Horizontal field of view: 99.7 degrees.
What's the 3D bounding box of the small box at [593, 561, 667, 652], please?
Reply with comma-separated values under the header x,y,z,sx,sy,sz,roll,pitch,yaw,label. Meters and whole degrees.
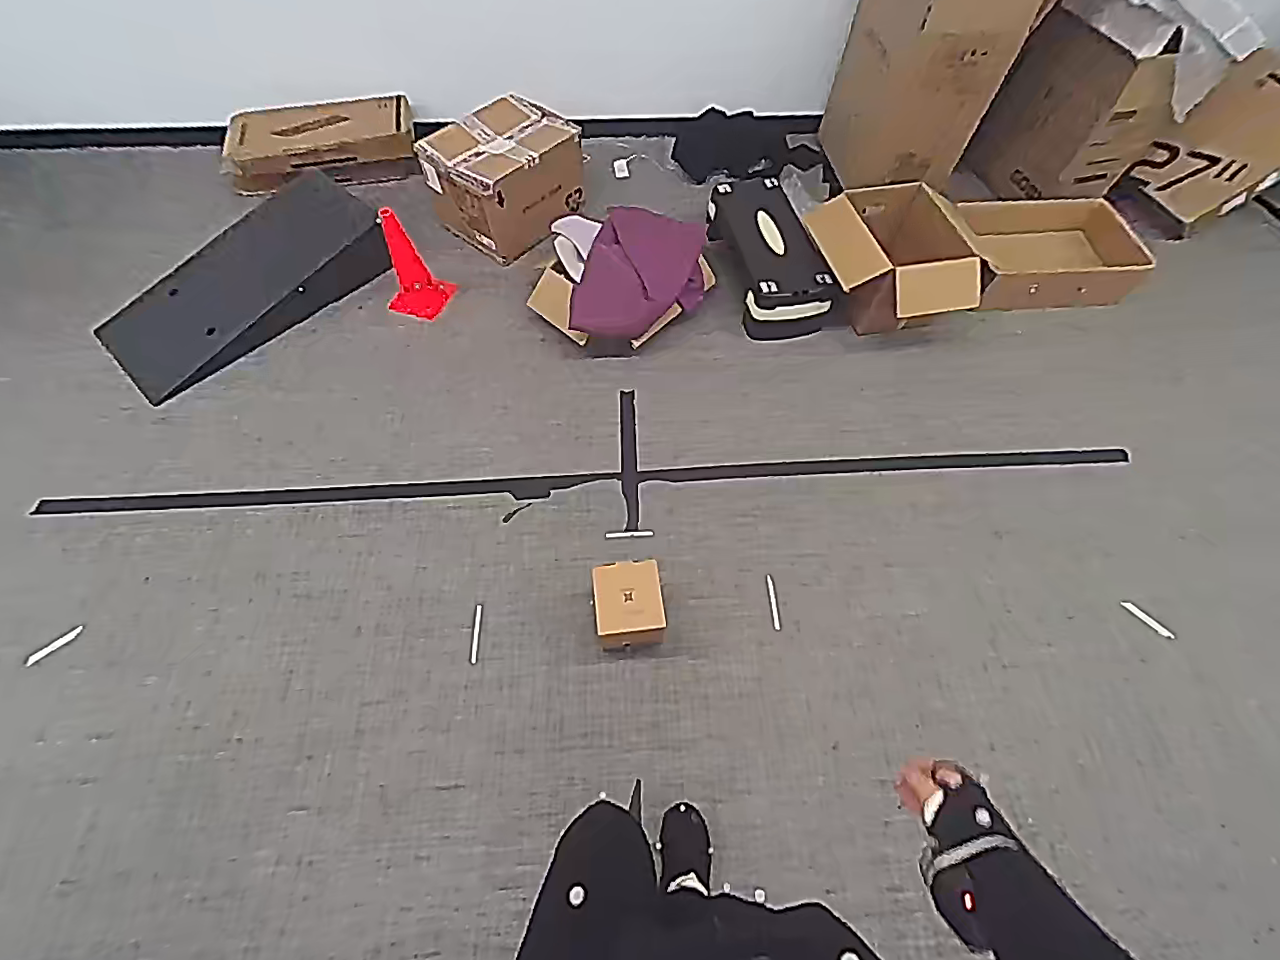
x,y,z,sx,sy,sz,roll,pitch,yaw,label
-0.028,0.326,1.381,0.168,0.176,0.179,-7,62,-4,small box
